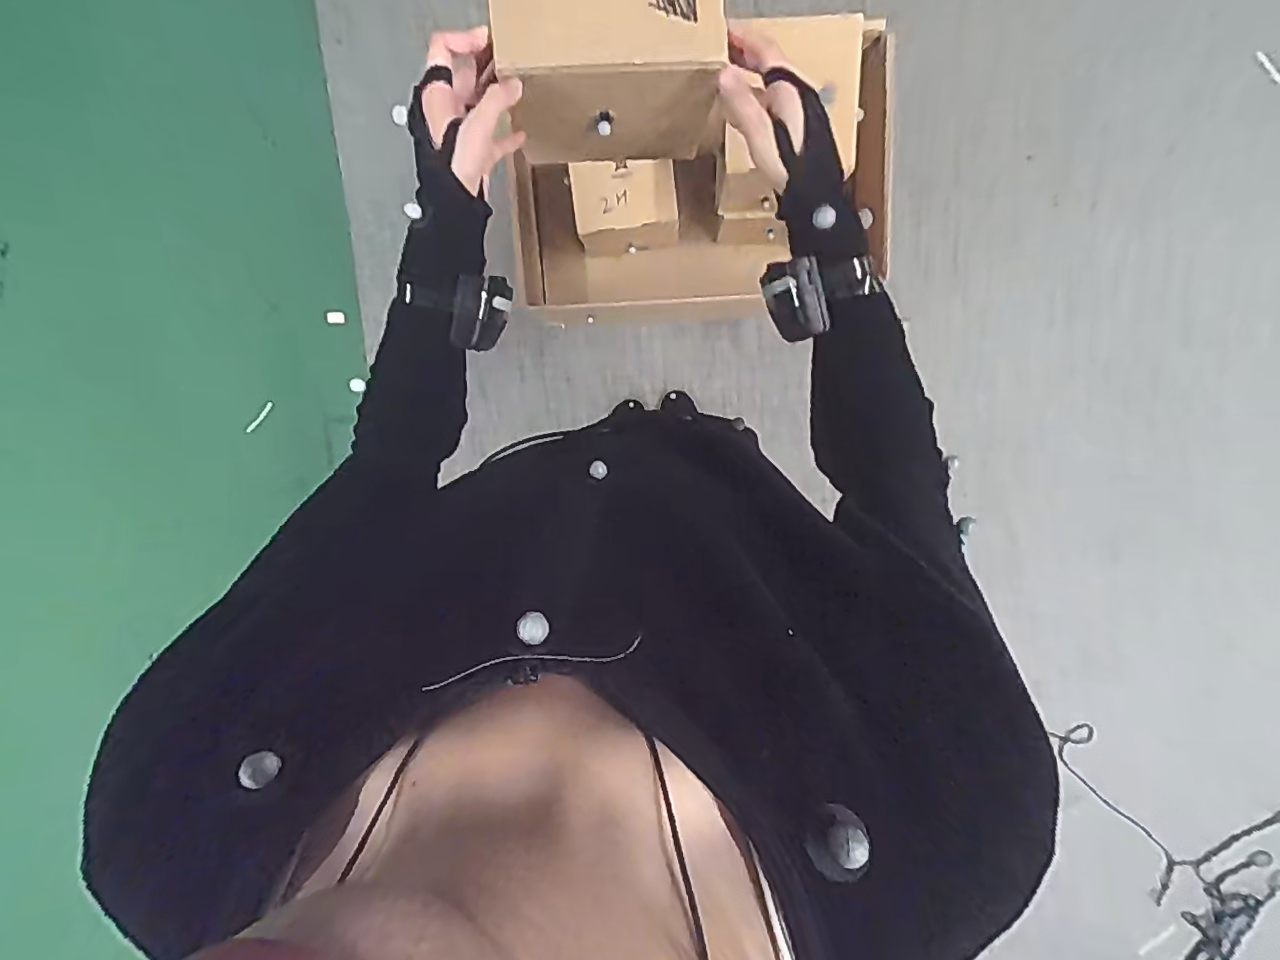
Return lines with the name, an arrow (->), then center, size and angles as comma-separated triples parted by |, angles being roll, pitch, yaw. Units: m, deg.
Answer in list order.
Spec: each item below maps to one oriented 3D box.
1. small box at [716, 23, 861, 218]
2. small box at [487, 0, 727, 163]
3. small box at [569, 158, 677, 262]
small box -> 0.194, -0.486, 0.756 | 0.168, 0.176, 0.179 | 0, 99, 4
small box -> -0.029, -0.394, 0.463 | 0.179, 0.176, 0.168 | -3, 99, -2
small box -> -0.028, -0.495, 0.930 | 0.168, 0.176, 0.179 | -6, 99, 4
